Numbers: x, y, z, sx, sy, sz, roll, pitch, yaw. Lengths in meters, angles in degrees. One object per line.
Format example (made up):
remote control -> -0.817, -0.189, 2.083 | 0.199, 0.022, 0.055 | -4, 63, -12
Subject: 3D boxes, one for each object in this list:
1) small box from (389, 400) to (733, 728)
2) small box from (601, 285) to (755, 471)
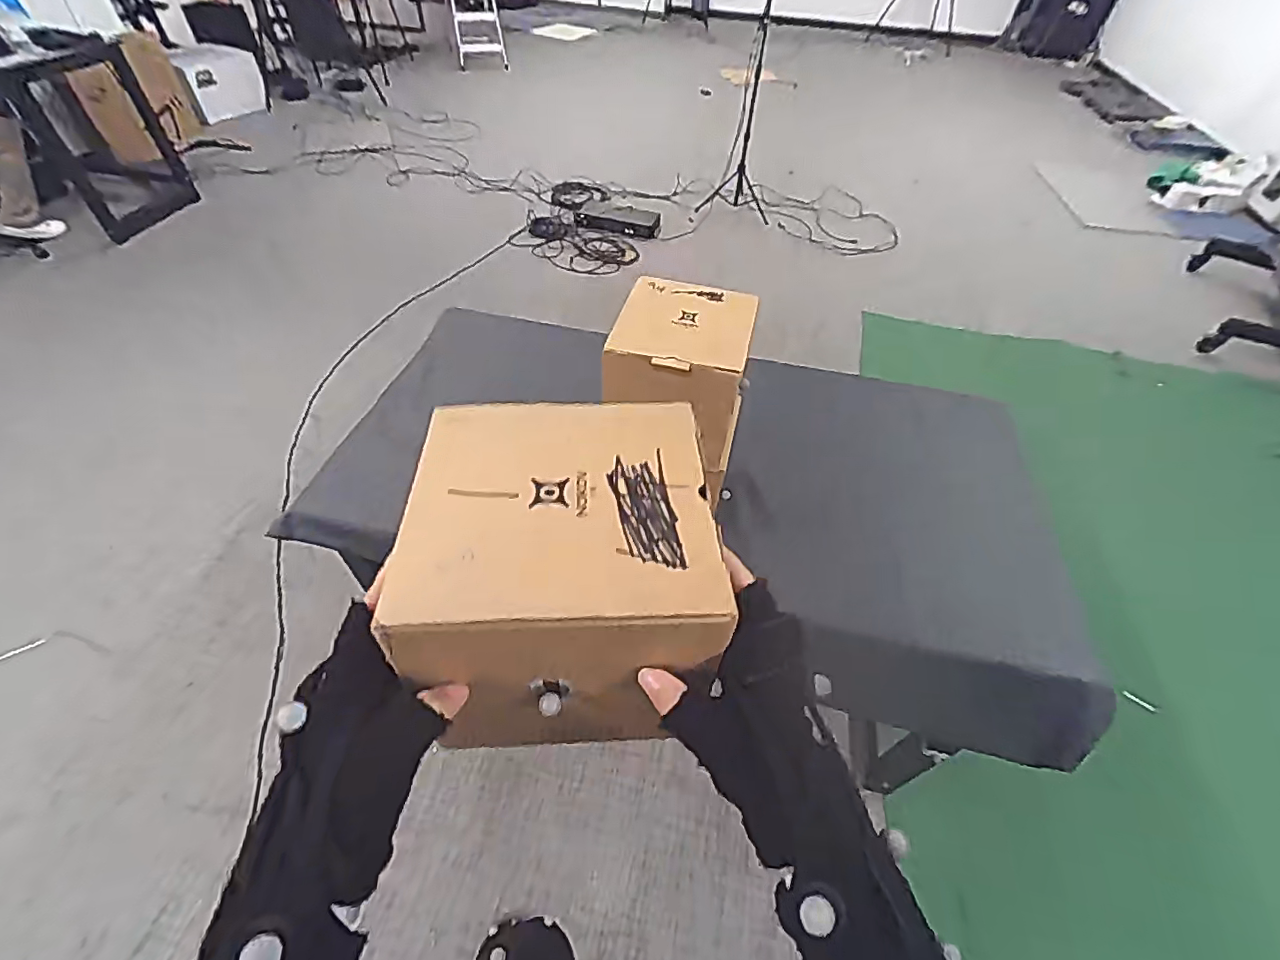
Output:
small box -> -0.047, 0.062, 0.384 | 0.179, 0.176, 0.168 | 0, 45, -5
small box -> 0.052, -0.136, 0.743 | 0.168, 0.176, 0.179 | 13, 50, 7
